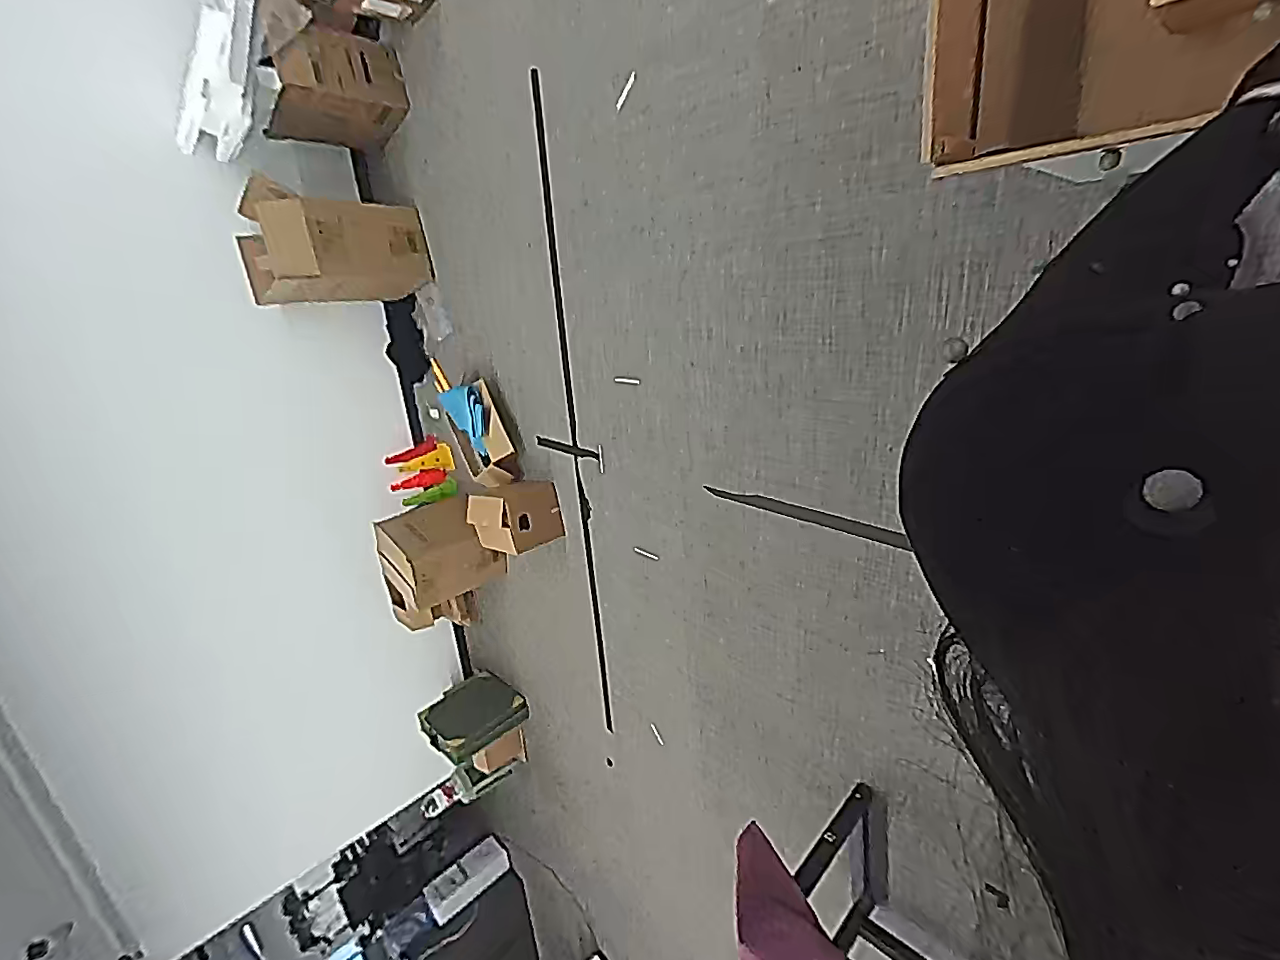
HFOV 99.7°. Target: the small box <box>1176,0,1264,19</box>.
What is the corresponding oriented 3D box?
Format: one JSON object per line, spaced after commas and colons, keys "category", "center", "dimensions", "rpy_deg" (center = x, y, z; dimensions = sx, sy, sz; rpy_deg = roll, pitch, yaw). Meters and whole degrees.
{"category": "small box", "center": [0.568, -0.525, 0.445], "dimensions": [0.168, 0.176, 0.179], "rpy_deg": [16, 124, 44]}
